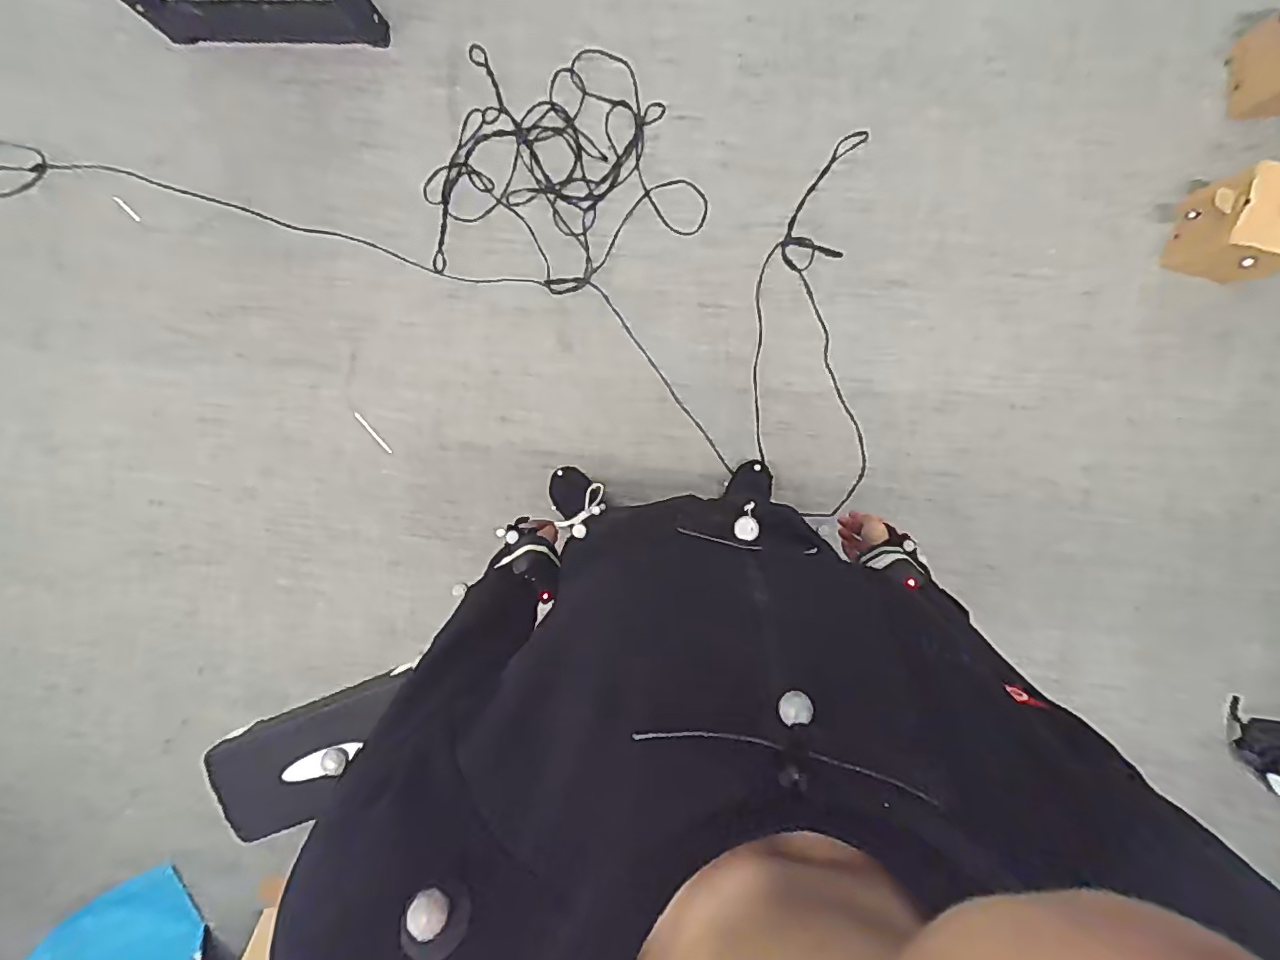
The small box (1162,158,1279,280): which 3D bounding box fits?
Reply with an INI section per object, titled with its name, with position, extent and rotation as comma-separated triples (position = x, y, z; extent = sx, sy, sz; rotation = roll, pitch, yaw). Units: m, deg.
[small box]
position = 1.288, -0.540, 1.144
extent = 0.179, 0.176, 0.168
rotation = 16, 96, 4
